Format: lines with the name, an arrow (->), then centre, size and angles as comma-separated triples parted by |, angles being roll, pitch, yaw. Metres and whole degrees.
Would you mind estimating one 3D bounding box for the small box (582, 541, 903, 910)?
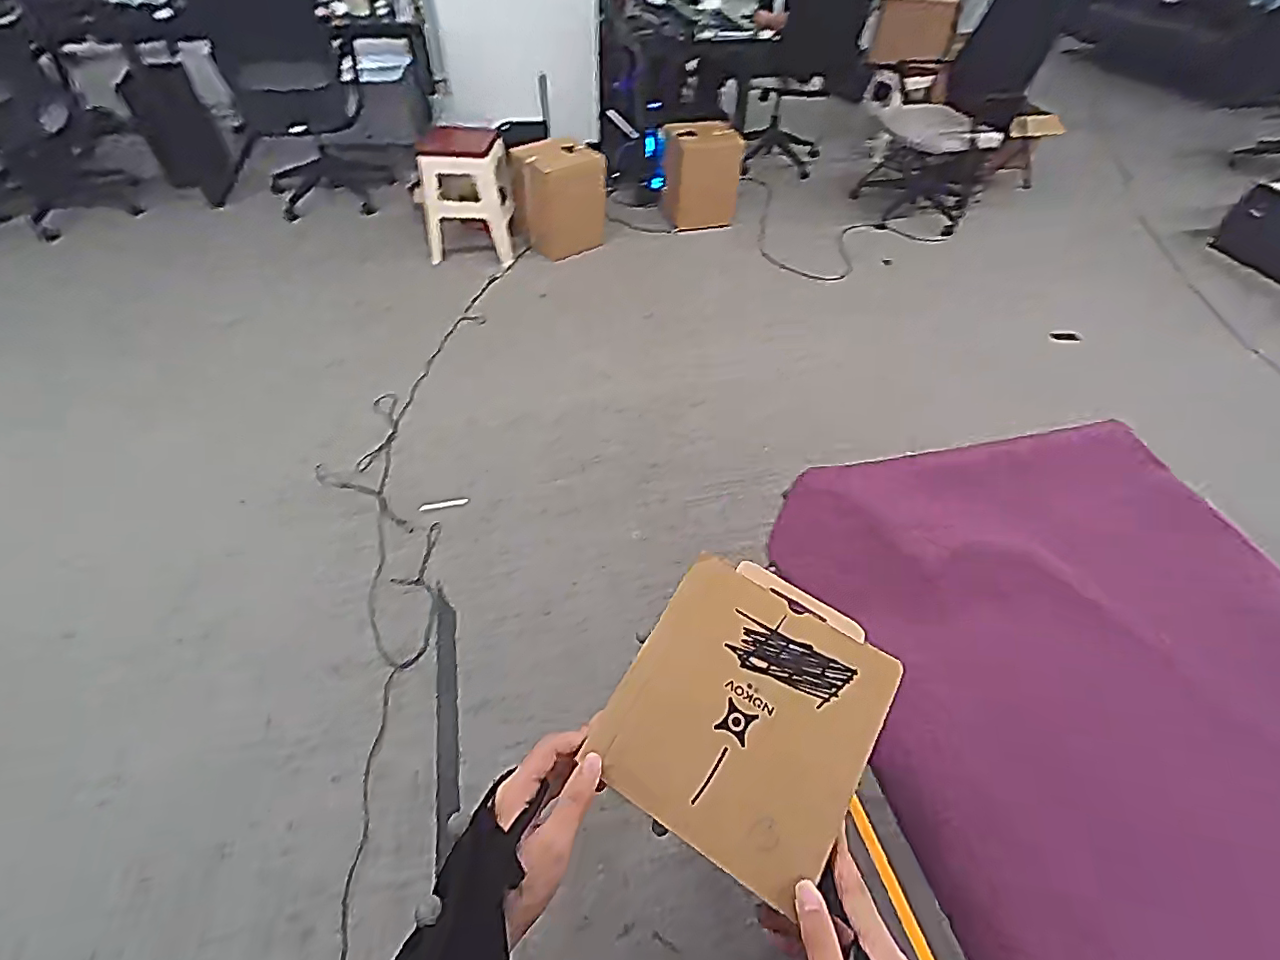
small box -> 0.074, 0.184, 0.439 | 0.168, 0.176, 0.179 | 29, 68, 15
